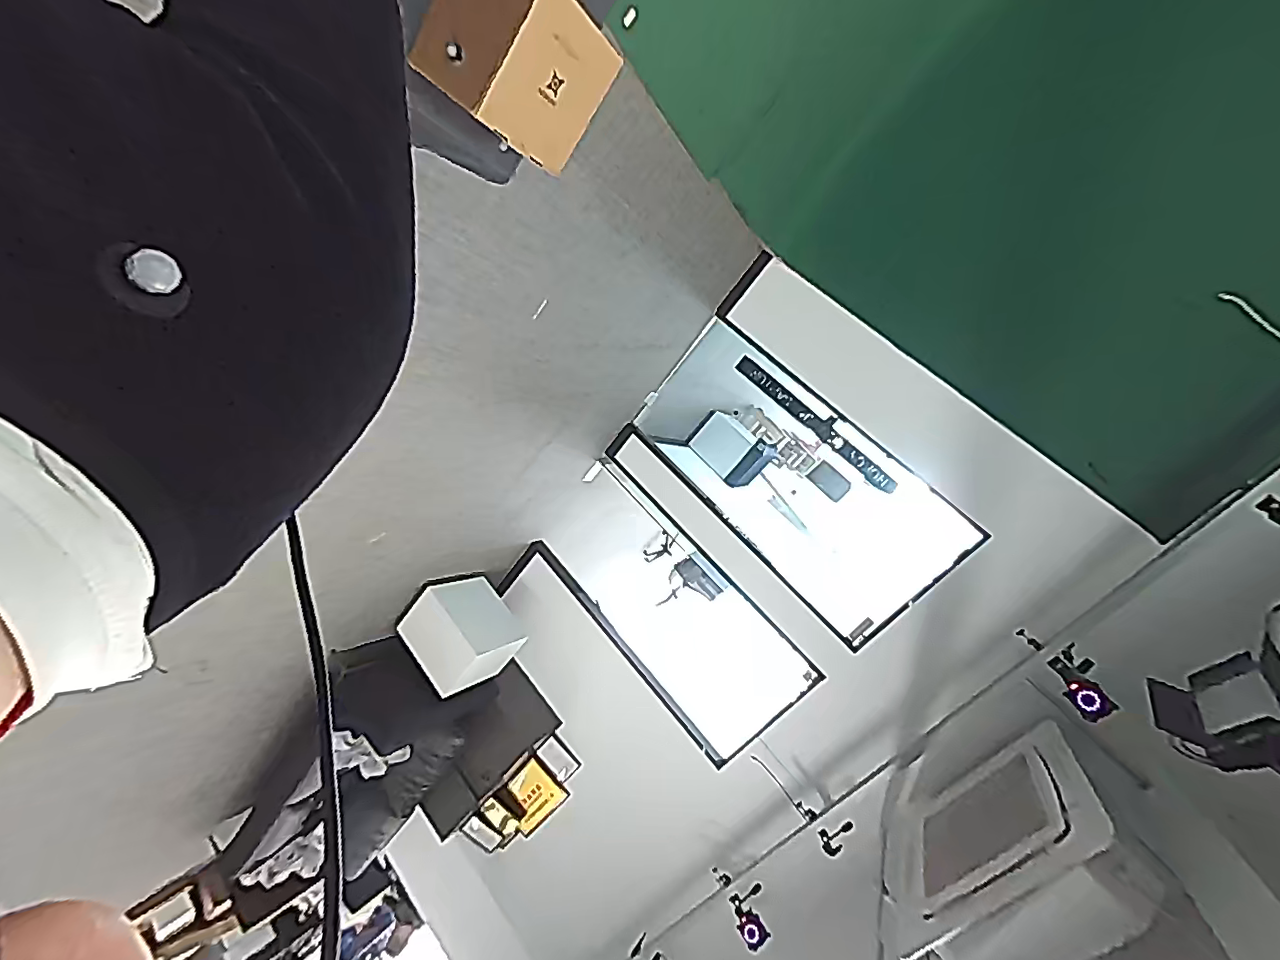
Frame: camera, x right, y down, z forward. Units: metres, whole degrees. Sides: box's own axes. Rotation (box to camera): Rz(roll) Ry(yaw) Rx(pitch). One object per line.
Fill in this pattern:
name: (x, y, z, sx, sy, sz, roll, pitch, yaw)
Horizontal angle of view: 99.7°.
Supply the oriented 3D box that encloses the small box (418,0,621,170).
small box: (-0.166, -0.573, 0.728, 0.179, 0.176, 0.168, -51, 160, 20)
